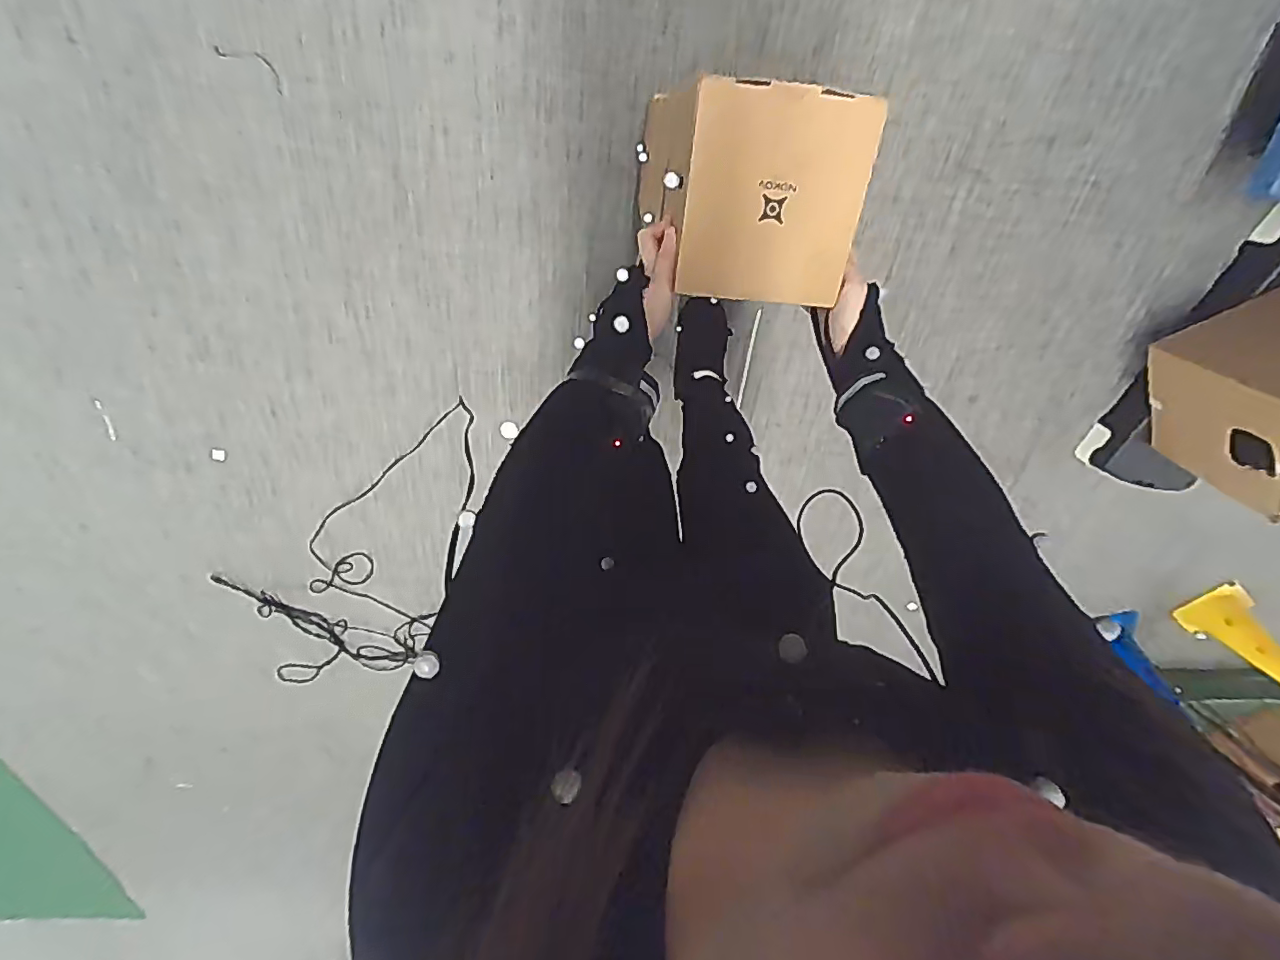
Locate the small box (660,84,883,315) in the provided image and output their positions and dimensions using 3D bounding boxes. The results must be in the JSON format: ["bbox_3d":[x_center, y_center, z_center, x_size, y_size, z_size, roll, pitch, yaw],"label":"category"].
[{"bbox_3d":[0.115,-0.284,0.561,0.168,0.176,0.179,3,119,-6],"label":"small box"}]

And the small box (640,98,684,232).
[{"bbox_3d":[0.096,-0.476,0.836,0.179,0.176,0.168,5,124,-6],"label":"small box"}]

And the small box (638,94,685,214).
[{"bbox_3d":[0.087,-0.572,0.970,0.168,0.176,0.179,5,122,-6],"label":"small box"}]
